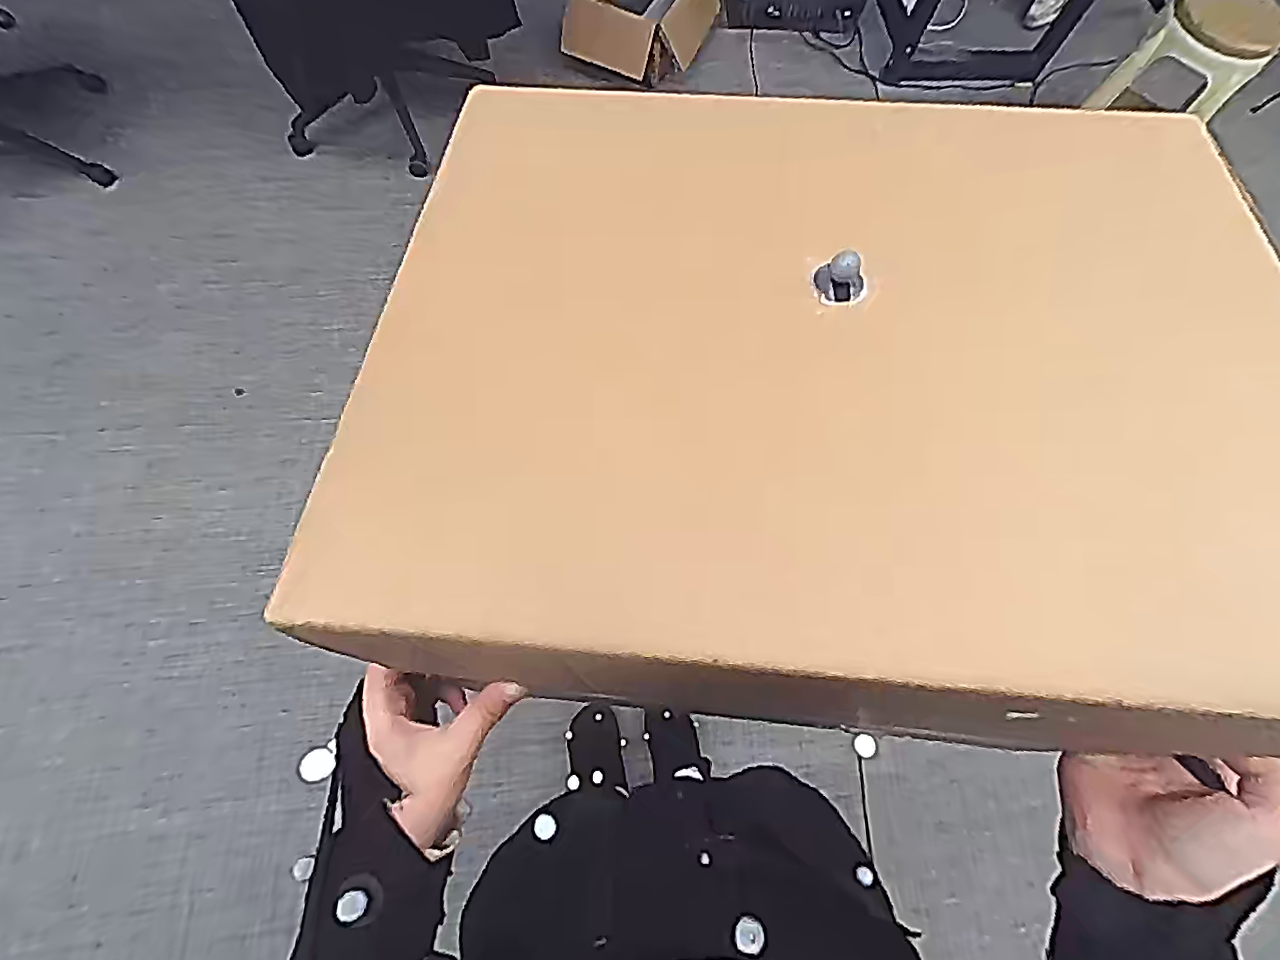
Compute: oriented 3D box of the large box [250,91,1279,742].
[{"bbox_3d":[0.074,-0.013,0.369,0.408,0.320,0.320,3,66,4],"label":"large box"}]
